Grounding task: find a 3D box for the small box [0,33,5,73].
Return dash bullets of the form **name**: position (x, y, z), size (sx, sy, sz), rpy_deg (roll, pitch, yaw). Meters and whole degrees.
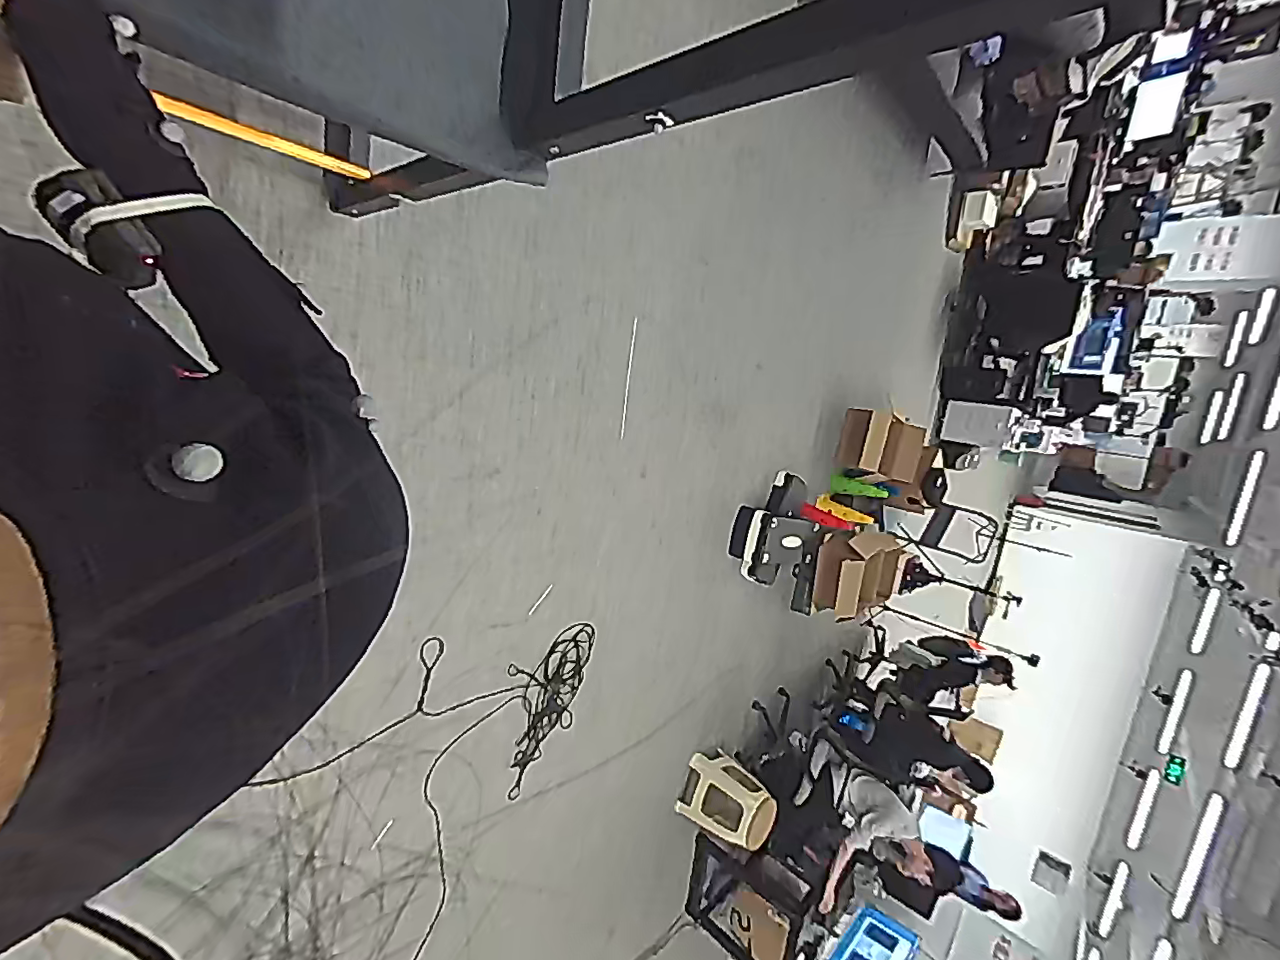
- **small box**: position (-0.455, -0.342, 0.261), size (0.168, 0.176, 0.179), rpy_deg (-12, 104, -44)
